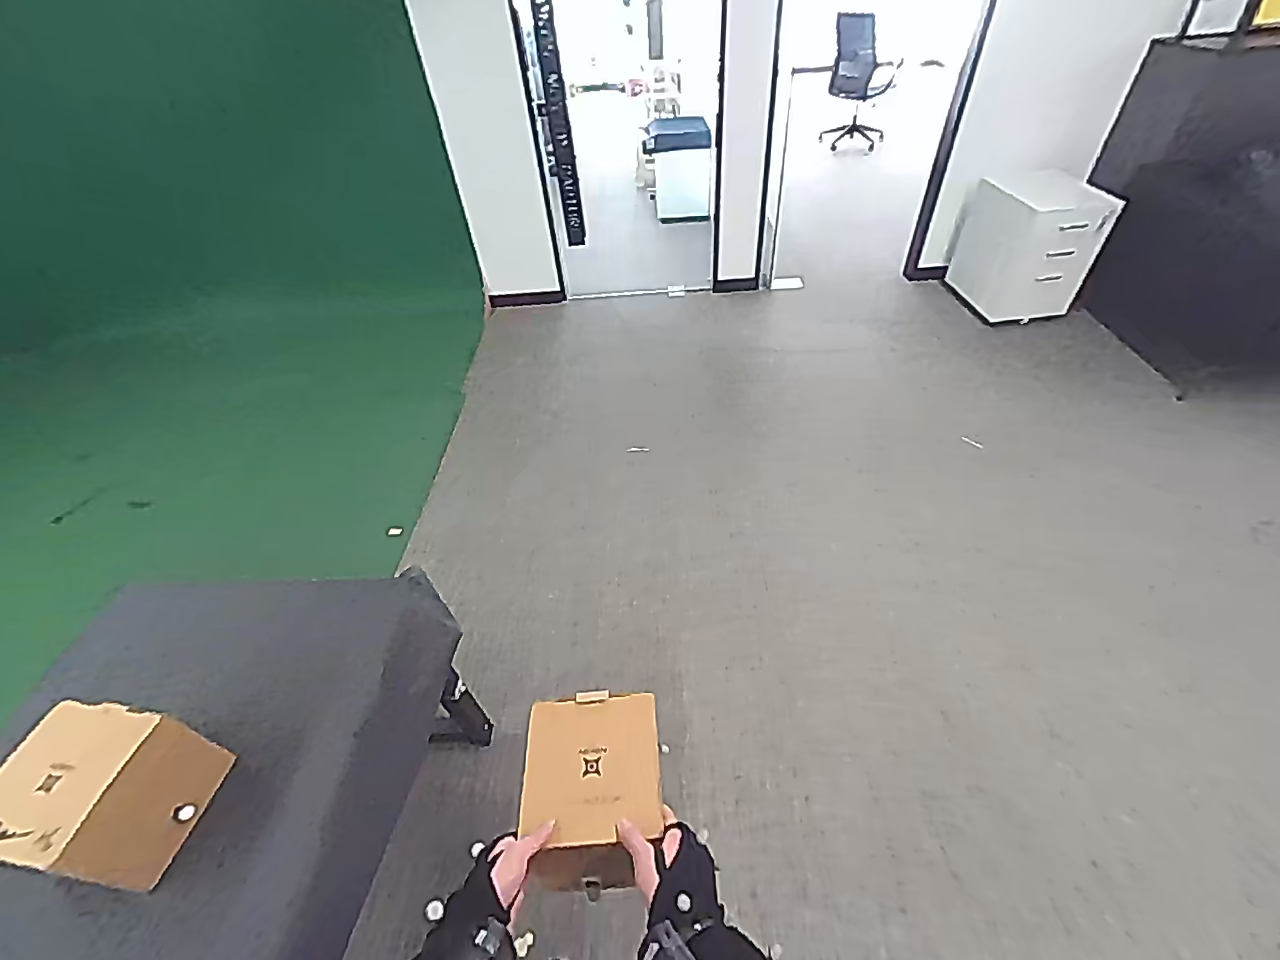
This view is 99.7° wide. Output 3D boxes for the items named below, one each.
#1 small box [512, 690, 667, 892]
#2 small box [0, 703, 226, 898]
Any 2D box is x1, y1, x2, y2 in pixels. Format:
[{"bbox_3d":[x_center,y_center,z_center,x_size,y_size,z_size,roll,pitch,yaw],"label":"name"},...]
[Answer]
[{"bbox_3d":[-0.054,0.399,0.698,0.168,0.176,0.179,-5,38,2],"label":"small box"},{"bbox_3d":[-0.720,0.434,0.736,0.168,0.176,0.179,4,45,9],"label":"small box"}]
